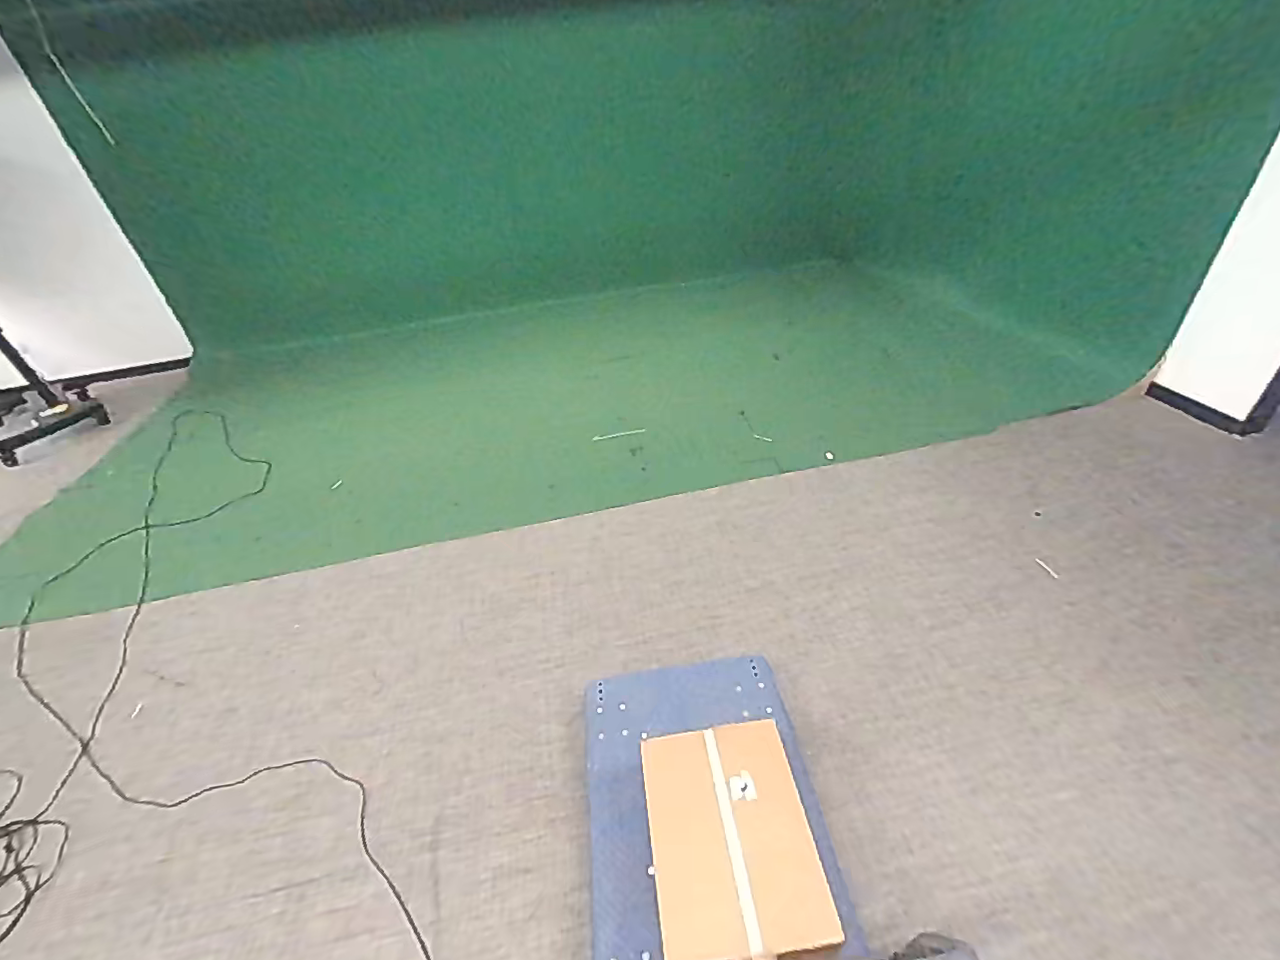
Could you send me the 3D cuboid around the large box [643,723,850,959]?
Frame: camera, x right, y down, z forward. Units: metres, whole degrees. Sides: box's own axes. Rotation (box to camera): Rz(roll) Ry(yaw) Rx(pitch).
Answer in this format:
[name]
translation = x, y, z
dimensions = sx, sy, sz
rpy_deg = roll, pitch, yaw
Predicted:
[large box]
translation = 0.197, 0.806, 1.143
dimensions = 0.320, 0.320, 0.408
rpy_deg = -8, 36, -2
